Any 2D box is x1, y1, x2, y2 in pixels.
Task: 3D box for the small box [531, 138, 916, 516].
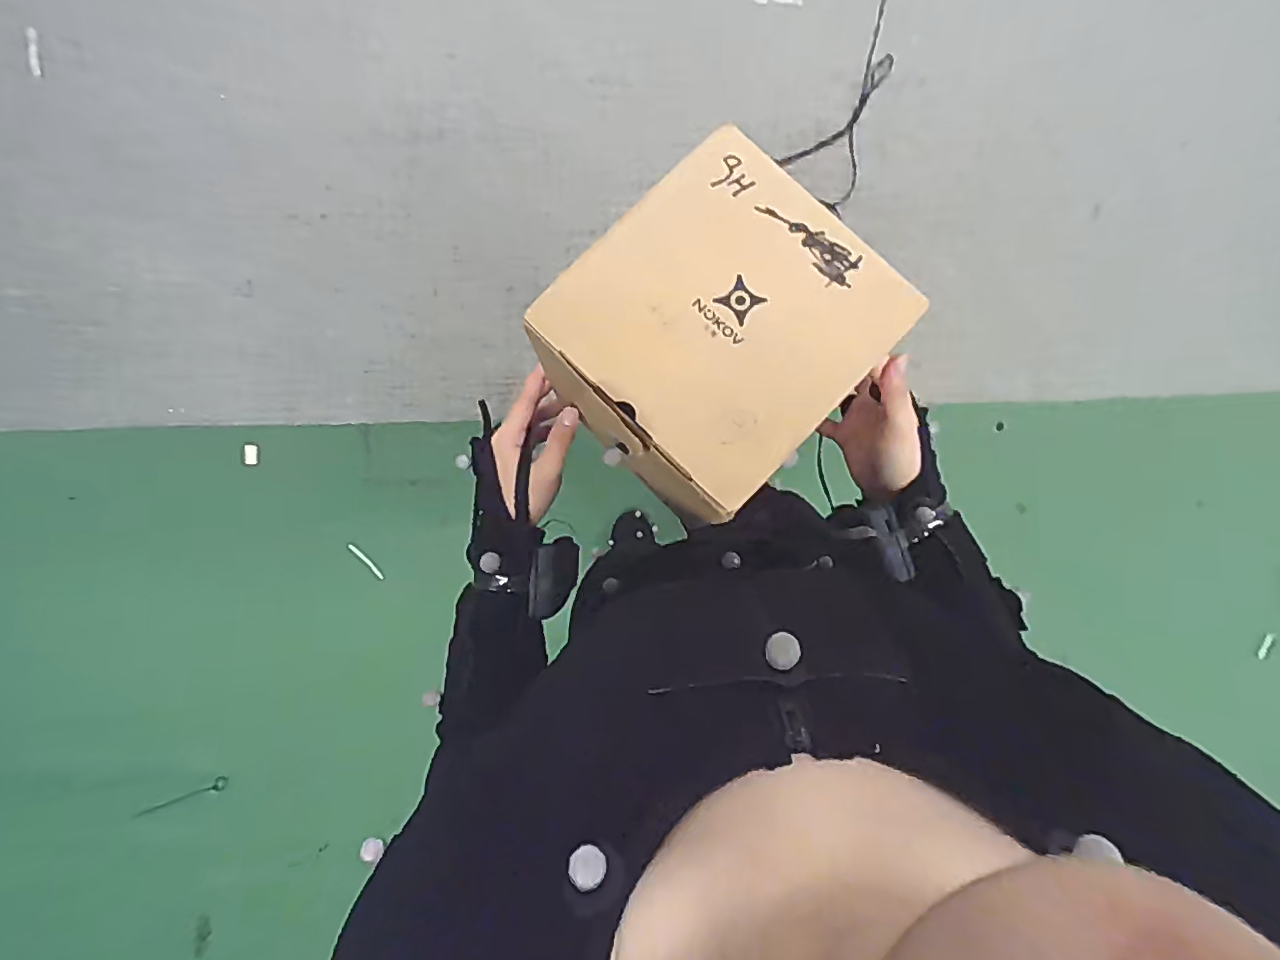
[{"bbox_3d":[0.051,-0.088,0.401,0.168,0.176,0.179,44,84,4],"label":"small box"}]
